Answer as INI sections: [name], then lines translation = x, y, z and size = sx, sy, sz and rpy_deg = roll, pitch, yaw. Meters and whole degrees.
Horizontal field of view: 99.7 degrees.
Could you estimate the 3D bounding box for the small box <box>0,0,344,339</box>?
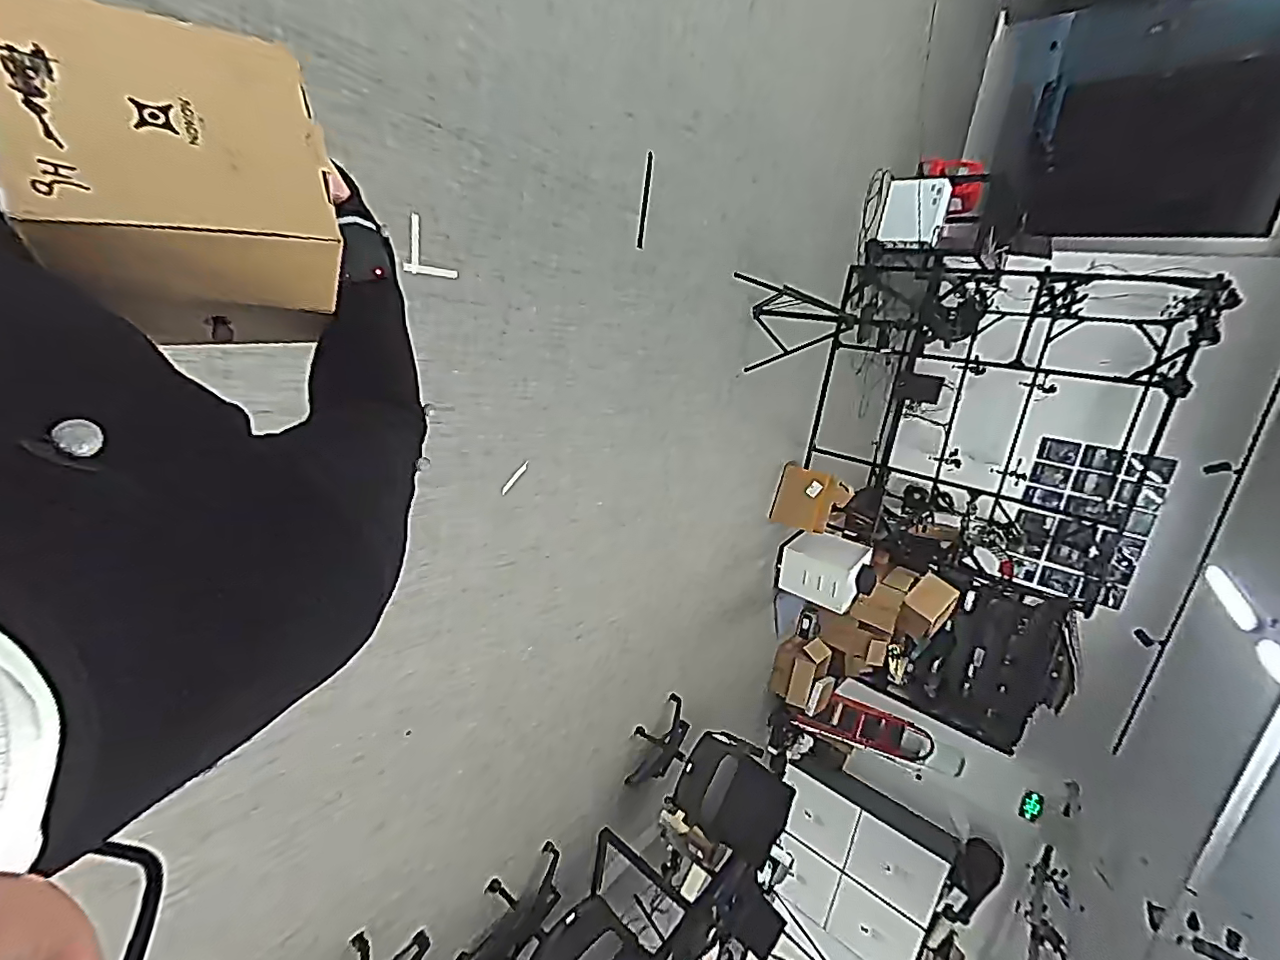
[small box]
translation = -0.365, -0.228, 0.446
size = 0.179, 0.176, 0.168
rpy_deg = -12, 82, -35
